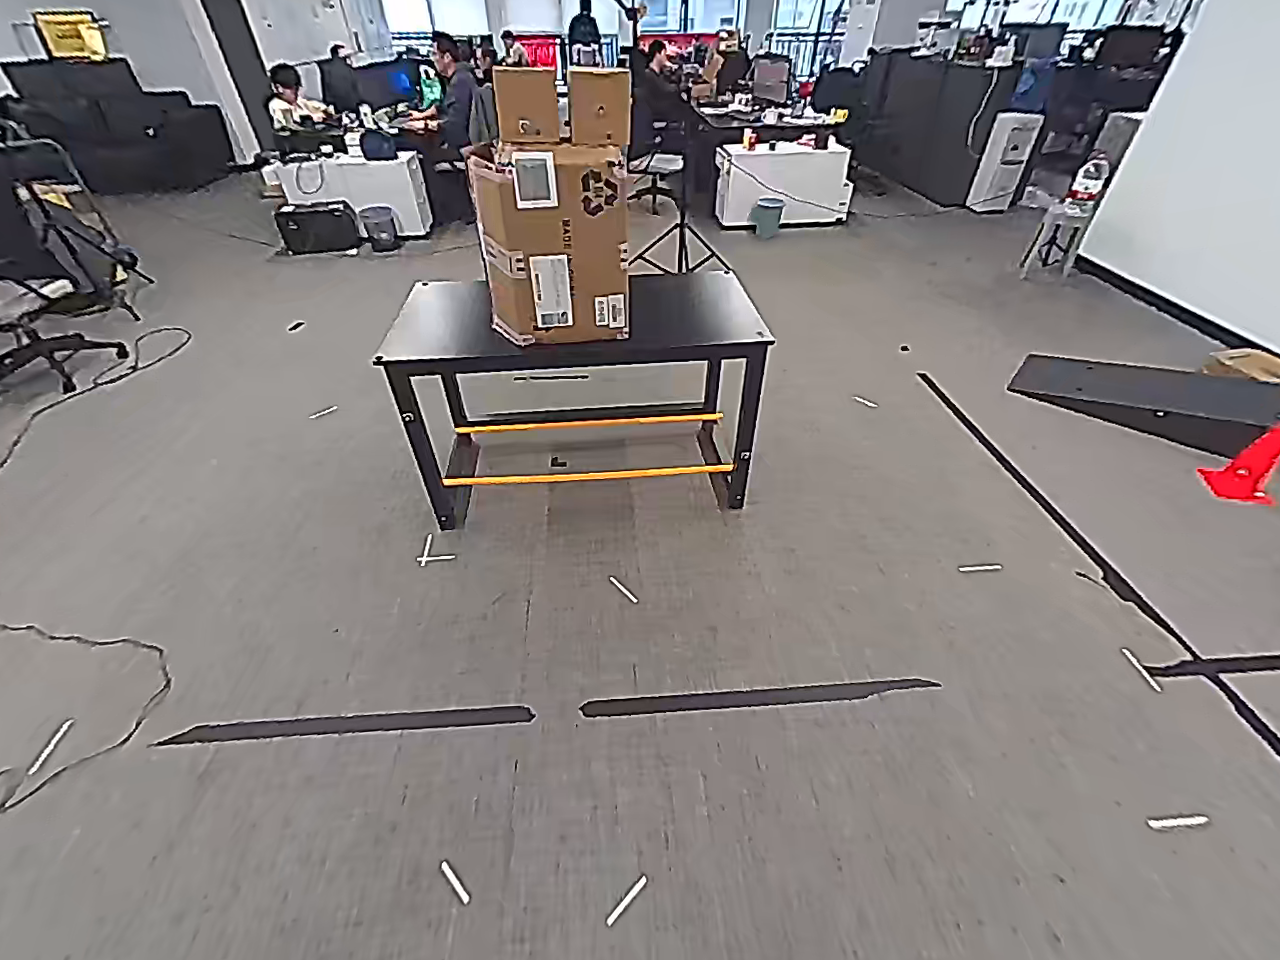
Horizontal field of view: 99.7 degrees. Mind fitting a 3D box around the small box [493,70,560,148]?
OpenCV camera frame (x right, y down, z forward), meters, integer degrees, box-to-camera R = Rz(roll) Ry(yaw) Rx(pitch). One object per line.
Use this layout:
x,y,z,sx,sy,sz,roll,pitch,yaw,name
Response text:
-0.320,-1.050,1.528,0.168,0.176,0.179,-8,40,-10,small box
